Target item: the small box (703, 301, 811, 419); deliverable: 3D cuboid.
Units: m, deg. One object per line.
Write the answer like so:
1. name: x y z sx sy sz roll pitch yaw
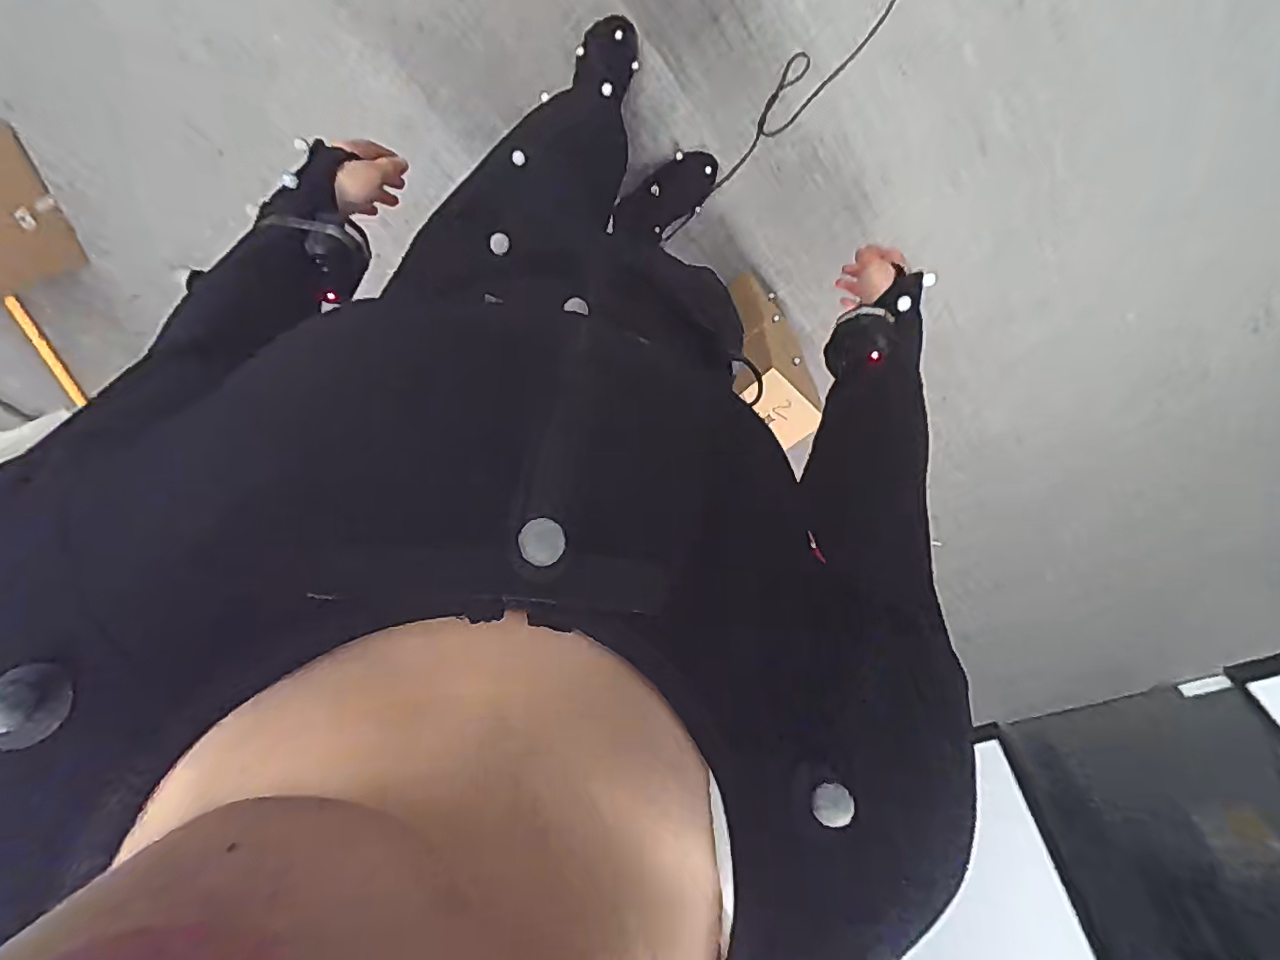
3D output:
1. small box: 0.257 -0.280 1.226 0.168 0.176 0.179 -34 122 31

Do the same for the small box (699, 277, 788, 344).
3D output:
1. small box: 0.259 -0.382 1.353 0.168 0.176 0.179 -32 122 28
